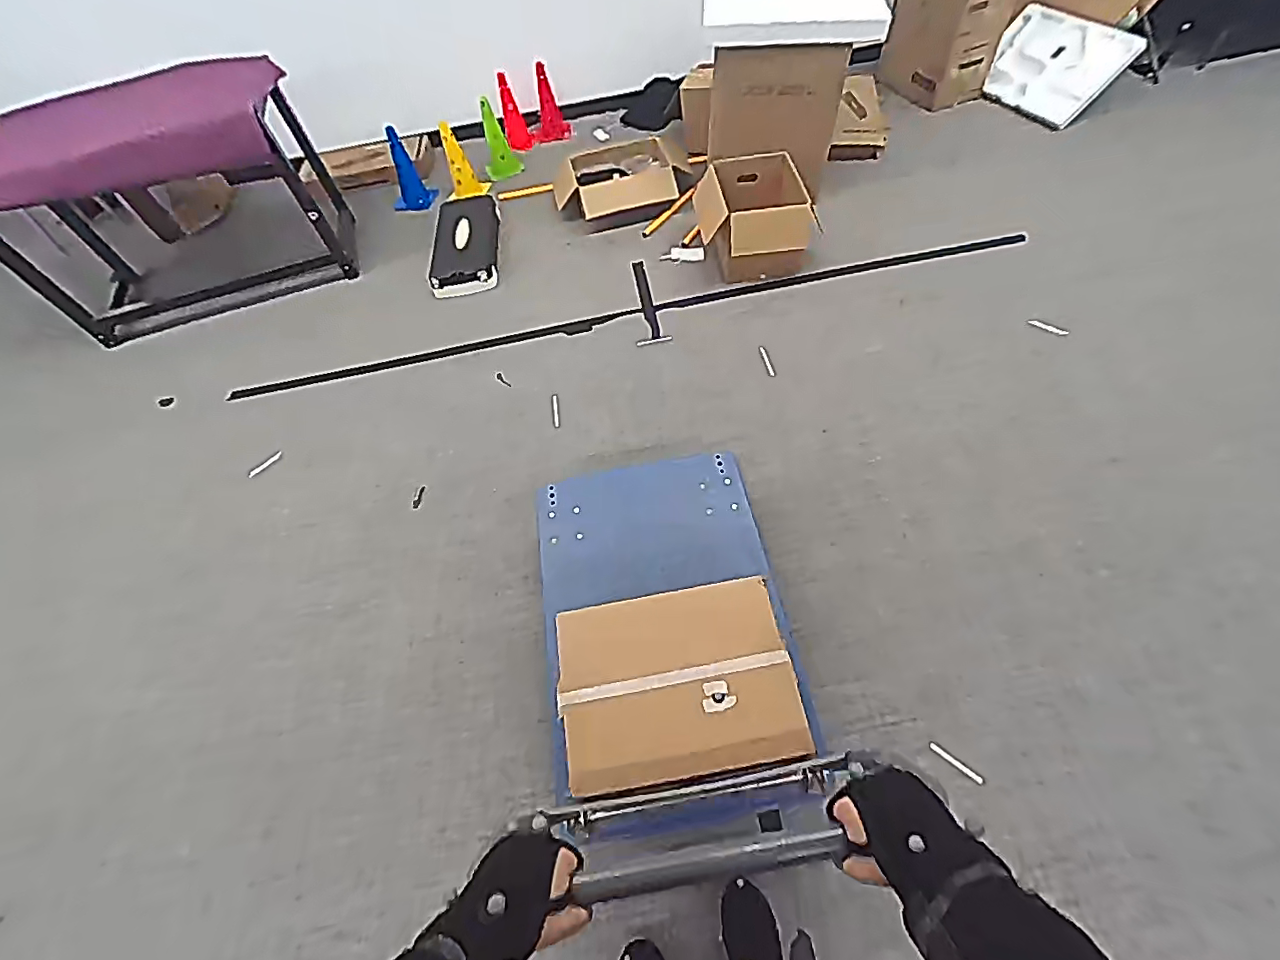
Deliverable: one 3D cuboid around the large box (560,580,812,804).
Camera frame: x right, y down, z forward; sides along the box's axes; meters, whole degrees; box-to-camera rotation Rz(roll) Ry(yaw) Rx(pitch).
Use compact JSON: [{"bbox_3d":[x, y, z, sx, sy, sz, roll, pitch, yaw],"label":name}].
[{"bbox_3d":[0.077,0.437,1.092,0.408,0.320,0.320,-10,59,-2],"label":"large box"}]
